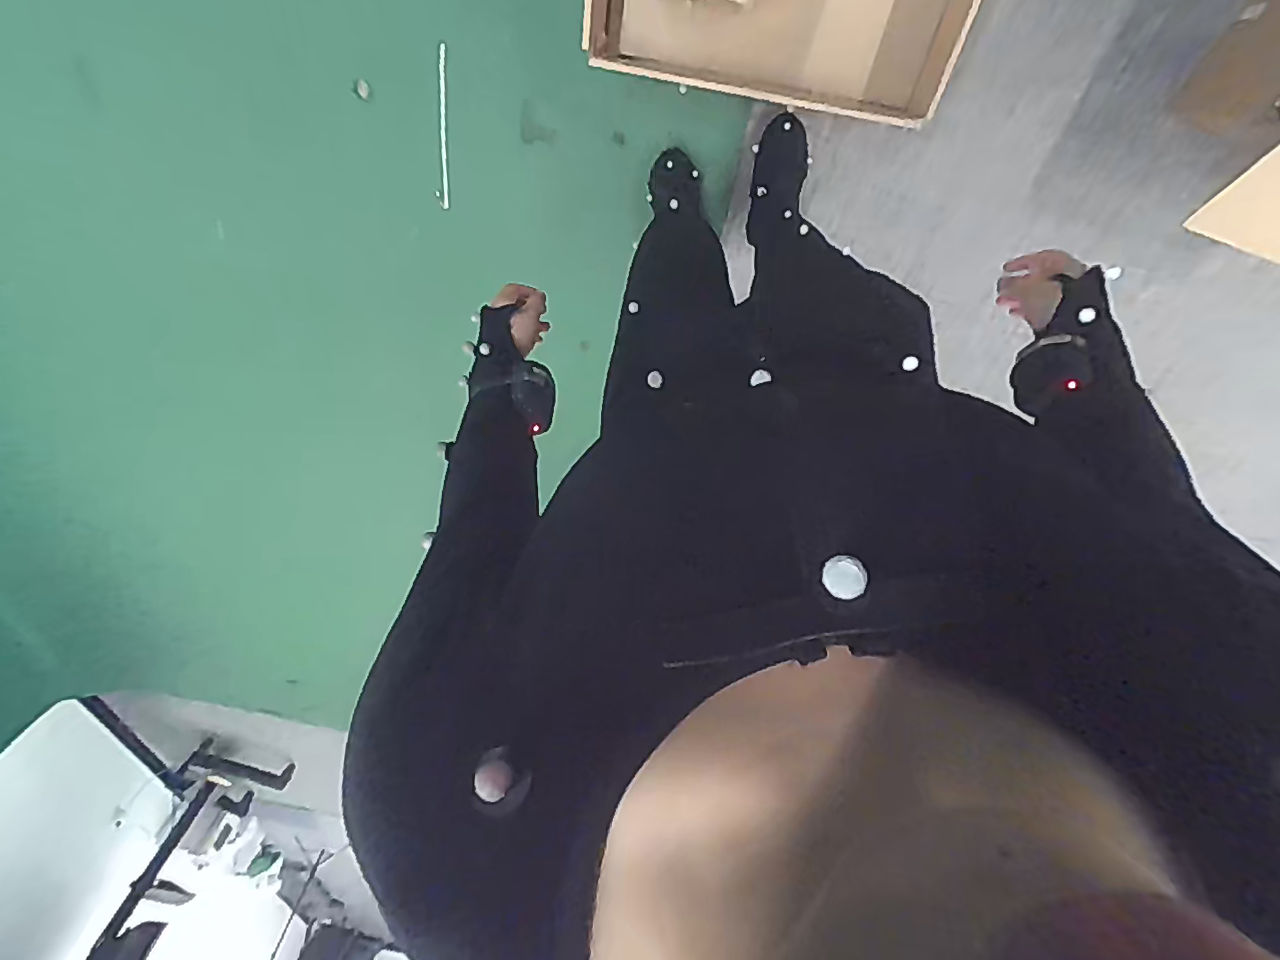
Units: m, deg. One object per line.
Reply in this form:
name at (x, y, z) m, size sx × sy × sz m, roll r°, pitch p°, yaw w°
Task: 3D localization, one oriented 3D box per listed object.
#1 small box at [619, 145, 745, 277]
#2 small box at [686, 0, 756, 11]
small box at (0.095, -0.563, 1.134) m, size 0.176 × 0.168 × 0.179 m, roll 28°, pitch 102°, yaw -39°
small box at (0.121, -0.875, 0.864) m, size 0.179 × 0.176 × 0.168 m, roll 11°, pitch 128°, yaw -1°
